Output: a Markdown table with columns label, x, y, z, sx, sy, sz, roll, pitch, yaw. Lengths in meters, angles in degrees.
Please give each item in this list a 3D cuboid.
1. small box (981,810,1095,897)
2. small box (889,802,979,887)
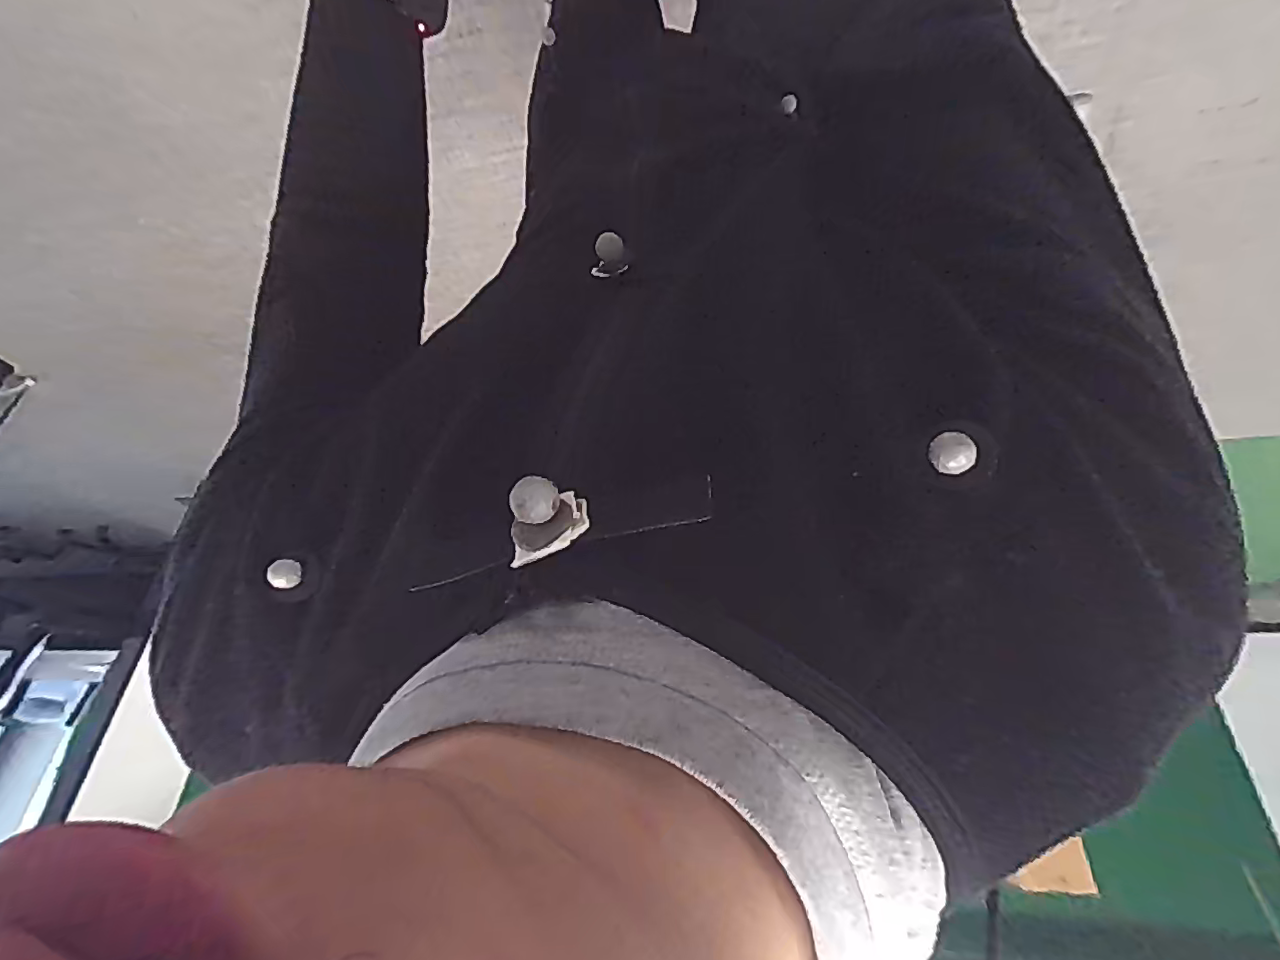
| label | x | y | z | sx | sy | sz | roll | pitch | yaw |
| --- | --- | --- | --- | --- | --- | --- | --- | --- | --- |
| small box | 1.015 | 0.958 | 1.400 | 0.168 | 0.176 | 0.179 | -4 | 151 | 11 |
| small box | 0.782 | 0.975 | 1.458 | 0.168 | 0.176 | 0.179 | -4 | 150 | 13 |
